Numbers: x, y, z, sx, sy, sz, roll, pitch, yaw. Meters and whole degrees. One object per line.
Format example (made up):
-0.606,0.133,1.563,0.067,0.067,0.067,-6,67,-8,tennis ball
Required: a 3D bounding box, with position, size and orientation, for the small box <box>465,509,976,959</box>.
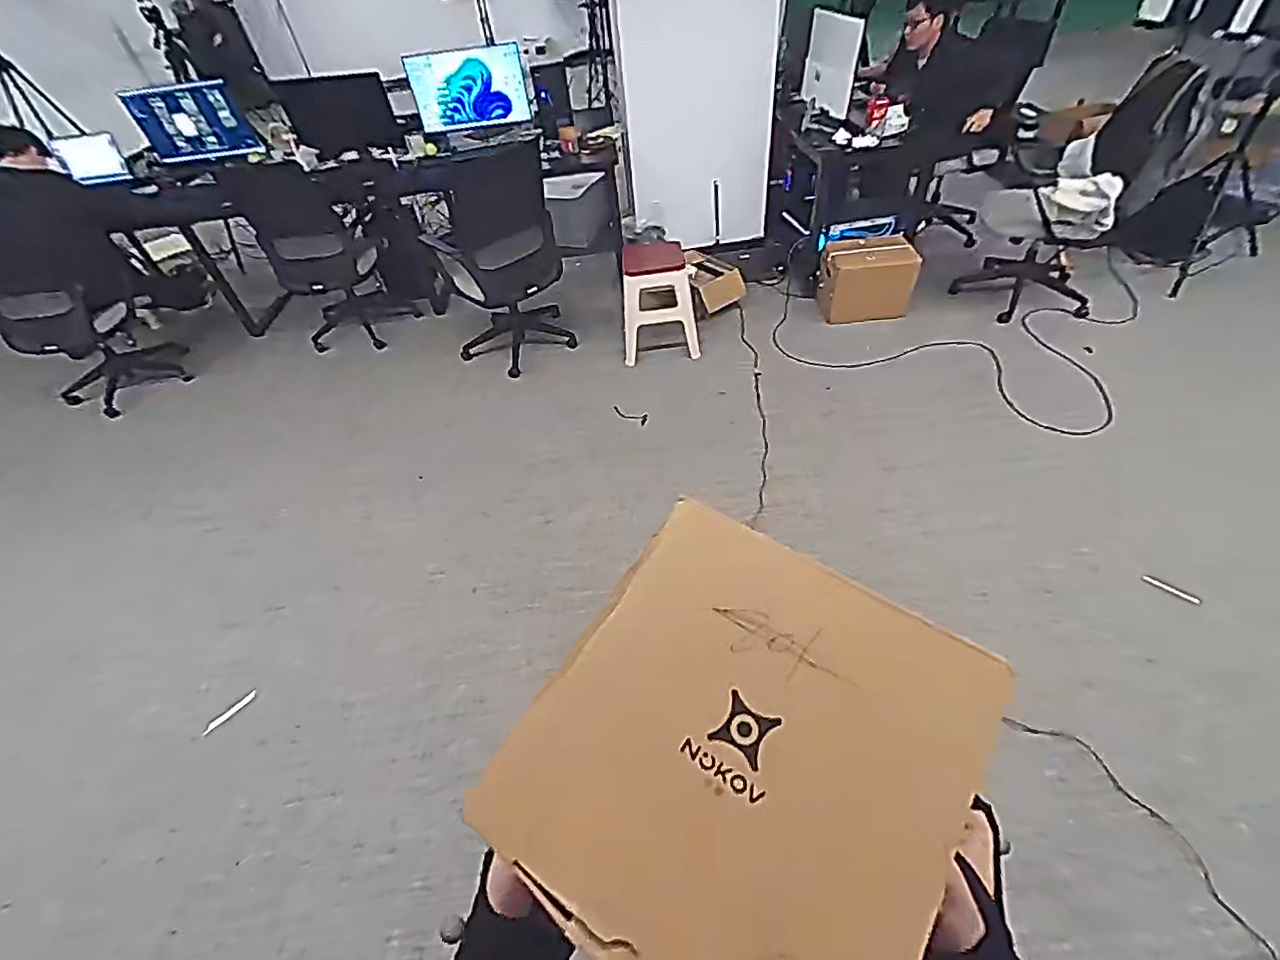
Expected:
0.045,0.154,0.302,0.168,0.176,0.179,26,64,21,small box
